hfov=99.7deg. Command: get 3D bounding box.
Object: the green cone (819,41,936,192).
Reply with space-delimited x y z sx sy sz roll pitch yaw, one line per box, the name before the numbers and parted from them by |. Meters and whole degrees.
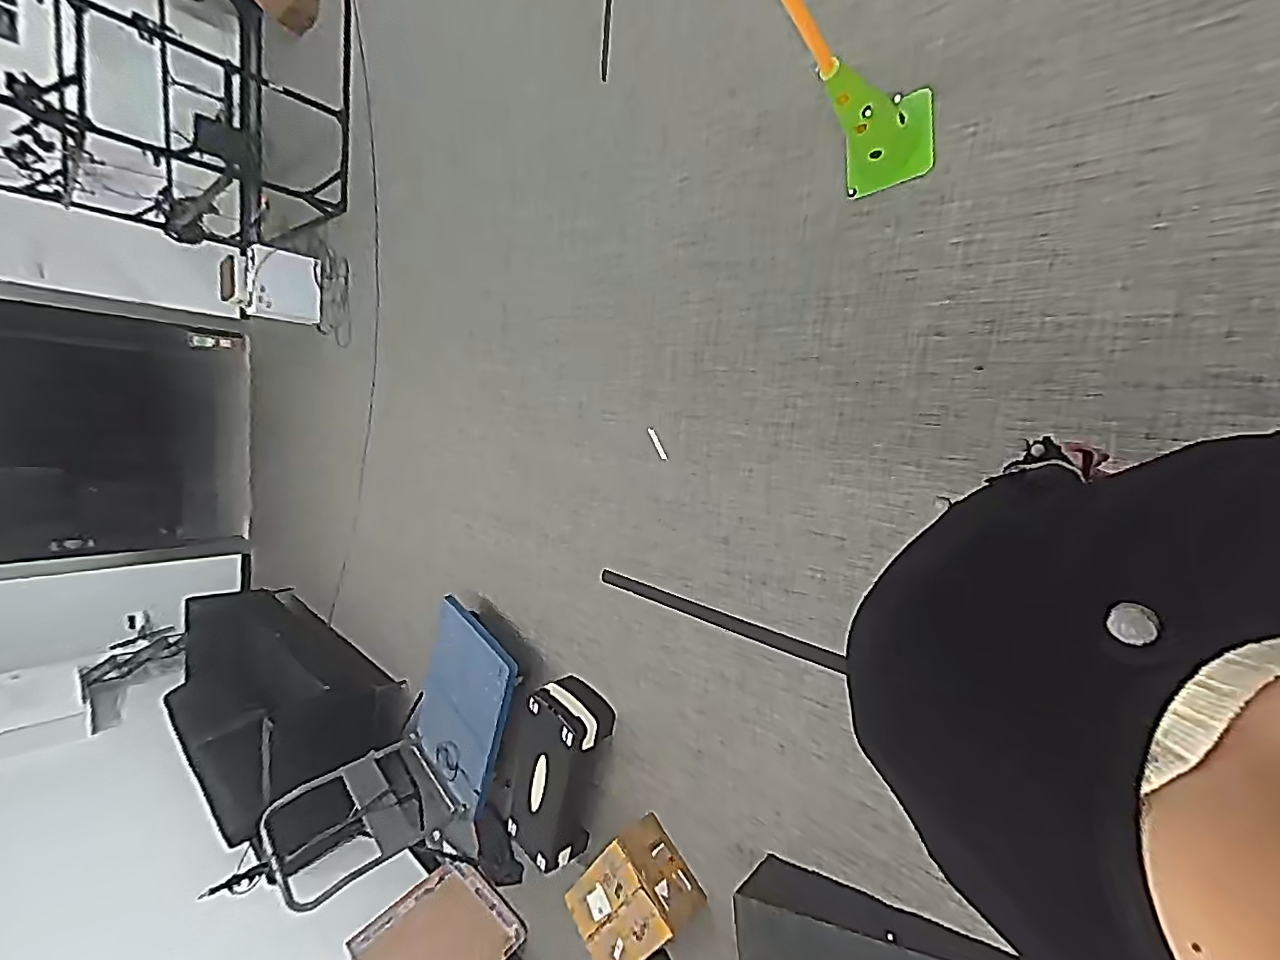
green cone | 0.489 -0.826 1.180 0.200 0.368 0.202 -2 88 42
